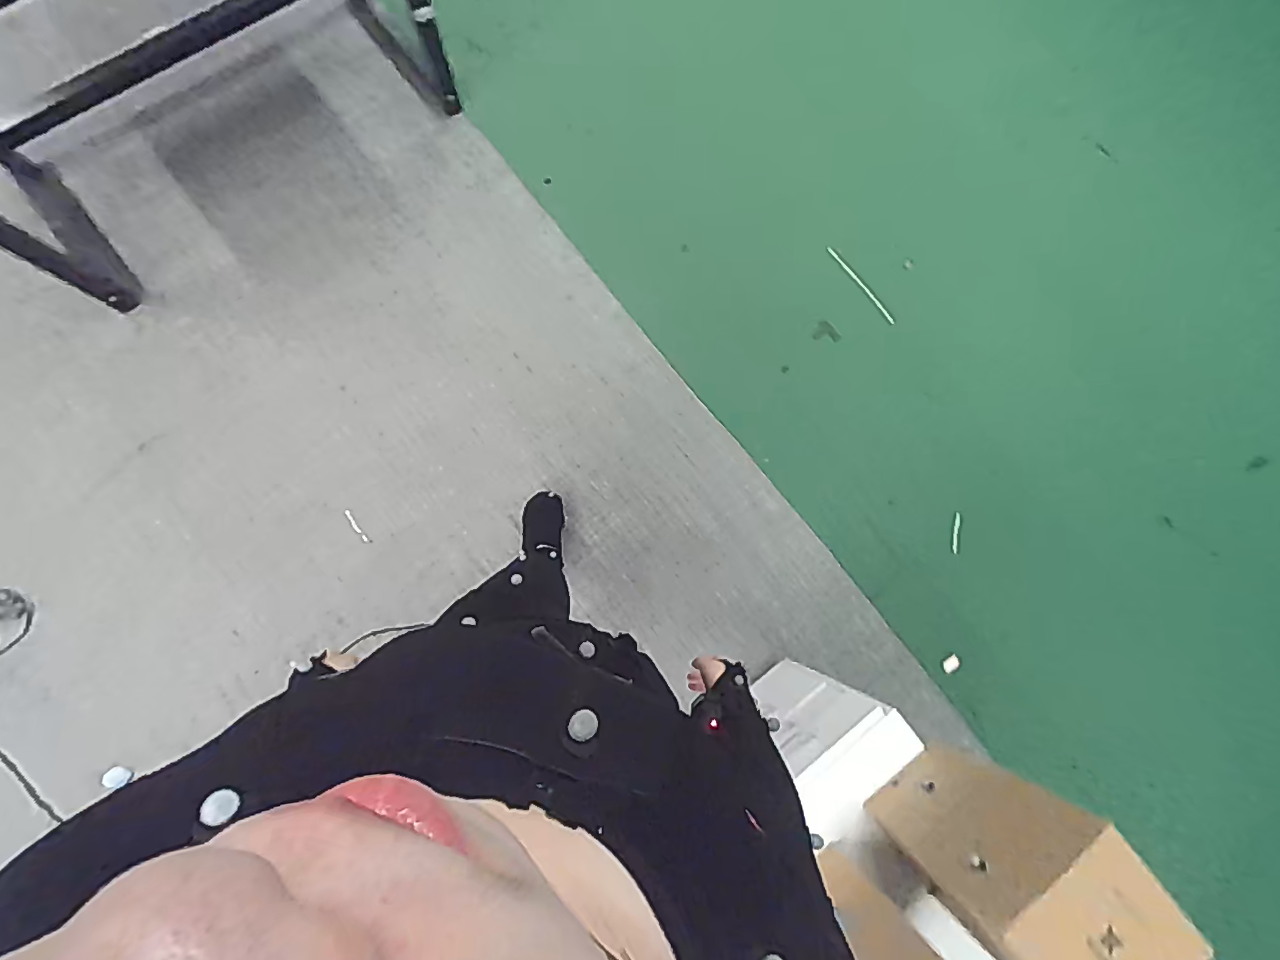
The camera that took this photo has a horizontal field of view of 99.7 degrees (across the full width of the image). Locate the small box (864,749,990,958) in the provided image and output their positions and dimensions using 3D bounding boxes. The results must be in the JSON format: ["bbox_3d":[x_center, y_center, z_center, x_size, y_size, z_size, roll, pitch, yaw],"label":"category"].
[{"bbox_3d":[0.478,0.539,0.816,0.168,0.176,0.179,-36,85,-7],"label":"small box"}]

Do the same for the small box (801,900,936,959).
[{"bbox_3d":[0.297,0.644,0.618,0.179,0.176,0.168,-33,85,-10],"label":"small box"}]

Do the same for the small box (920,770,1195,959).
[{"bbox_3d":[0.479,0.501,0.657,0.179,0.176,0.168,-36,86,-9],"label":"small box"}]
